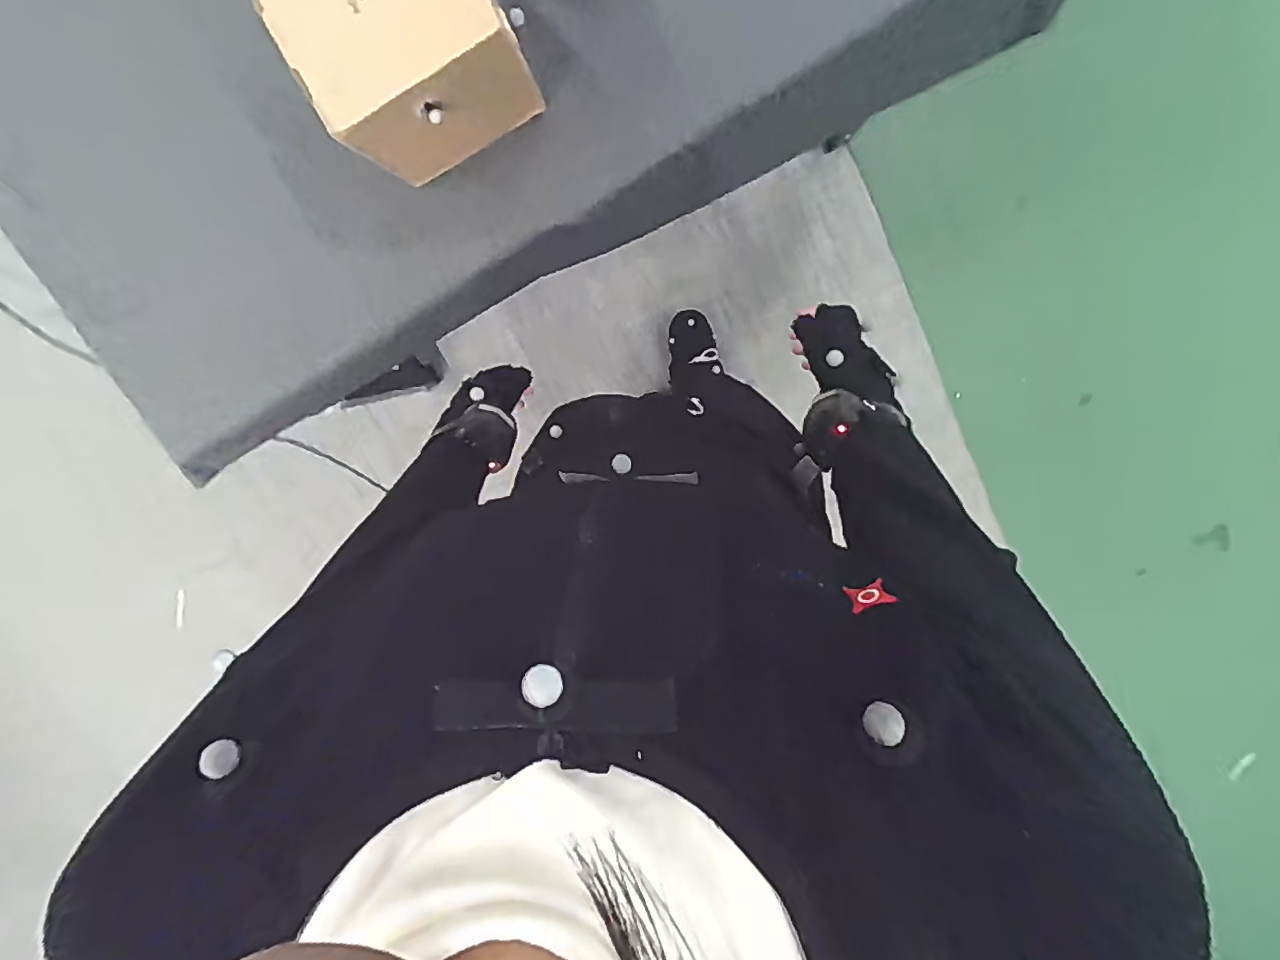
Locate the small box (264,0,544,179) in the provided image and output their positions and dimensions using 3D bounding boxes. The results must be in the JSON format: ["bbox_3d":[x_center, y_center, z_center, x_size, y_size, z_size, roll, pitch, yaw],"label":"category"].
[{"bbox_3d":[-0.217,-0.429,0.523,0.179,0.176,0.168,-26,102,9],"label":"small box"}]
